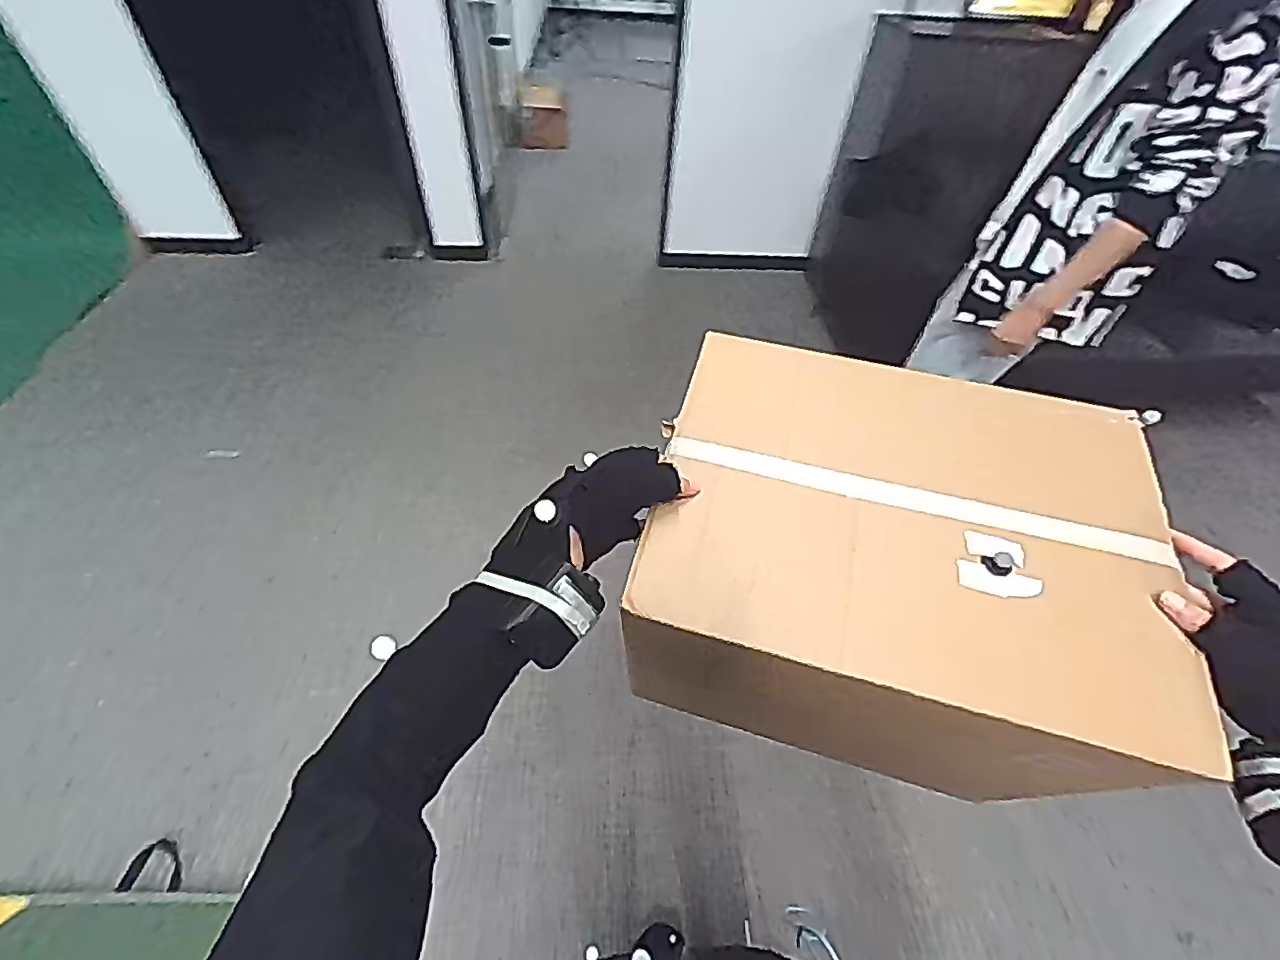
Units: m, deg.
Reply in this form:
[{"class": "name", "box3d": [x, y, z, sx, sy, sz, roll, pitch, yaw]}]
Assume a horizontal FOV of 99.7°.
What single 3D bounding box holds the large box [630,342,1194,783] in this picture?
[{"class": "large box", "box3d": [0.216, 0.097, 0.591, 0.408, 0.320, 0.320, 13, 58, 8]}]
